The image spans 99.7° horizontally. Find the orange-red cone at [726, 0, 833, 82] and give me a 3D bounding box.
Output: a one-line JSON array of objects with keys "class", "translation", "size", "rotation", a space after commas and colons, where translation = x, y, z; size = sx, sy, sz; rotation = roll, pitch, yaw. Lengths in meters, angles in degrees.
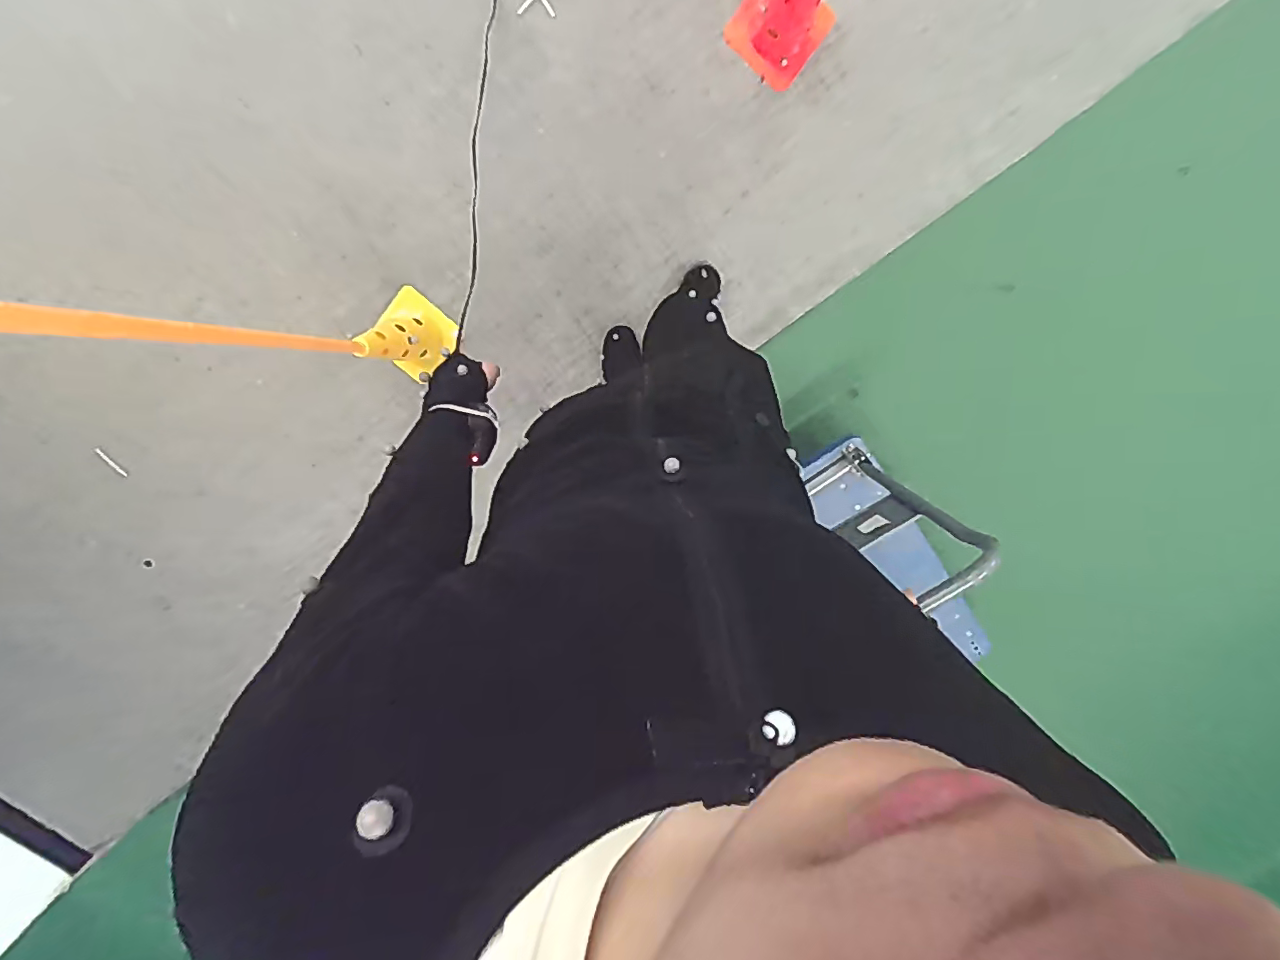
[{"class": "orange-red cone", "translation": [0.335, -1.029, 1.108], "size": [0.198, 0.360, 0.199], "rotation": [37, 103, -14]}]
